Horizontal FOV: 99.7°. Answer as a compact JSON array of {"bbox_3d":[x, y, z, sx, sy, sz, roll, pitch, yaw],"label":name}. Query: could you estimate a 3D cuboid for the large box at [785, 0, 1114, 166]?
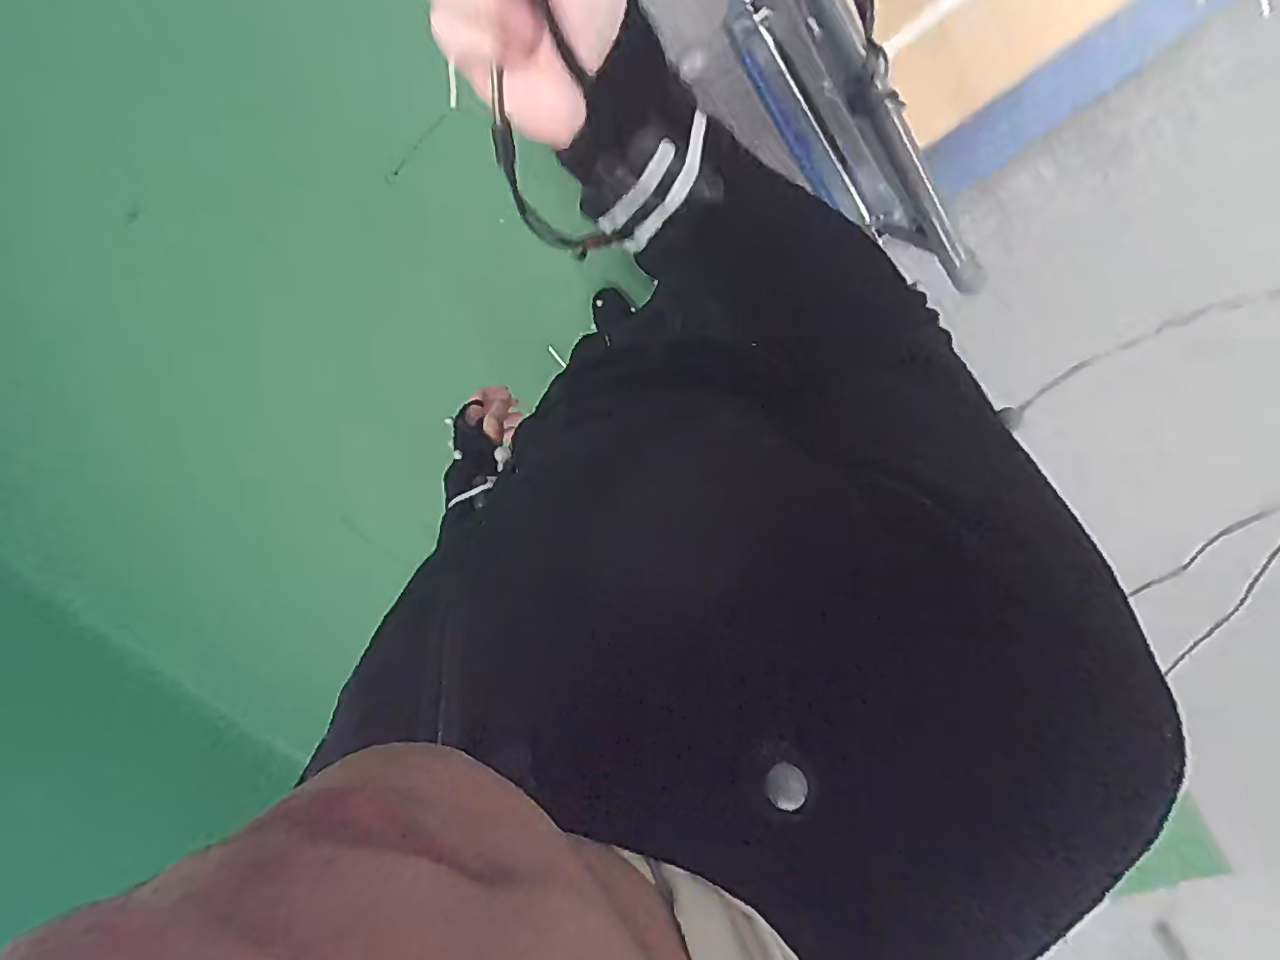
[{"bbox_3d":[0.513,-0.812,0.909,0.408,0.320,0.320,-32,110,20],"label":"large box"}]
